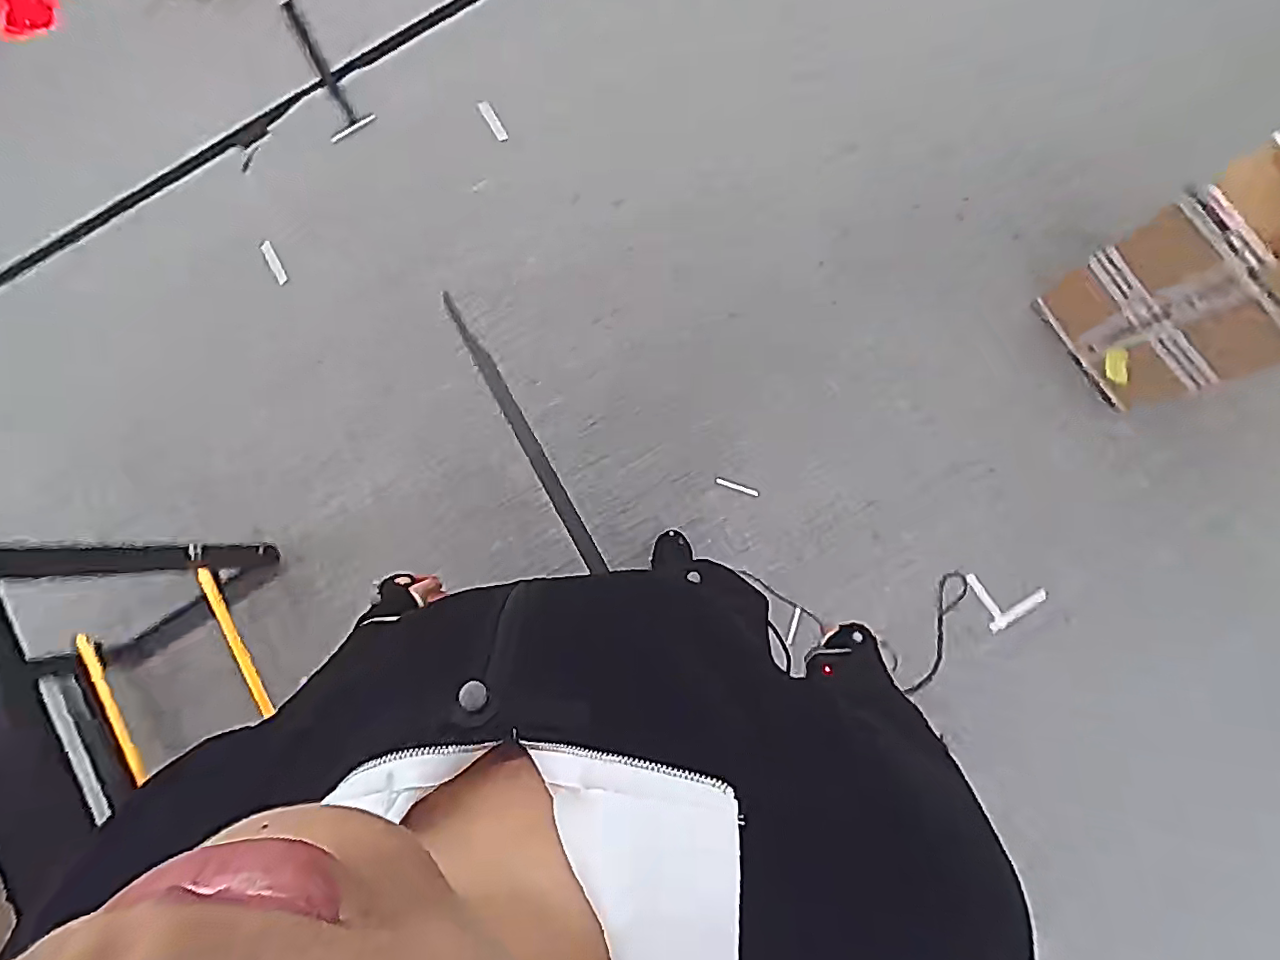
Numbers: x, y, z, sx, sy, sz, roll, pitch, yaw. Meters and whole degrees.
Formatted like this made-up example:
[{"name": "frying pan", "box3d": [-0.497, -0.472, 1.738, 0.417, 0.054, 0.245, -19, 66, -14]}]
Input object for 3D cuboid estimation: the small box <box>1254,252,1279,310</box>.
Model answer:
[{"name": "small box", "box3d": [1.257, -0.380, 0.931, 0.179, 0.176, 0.168, -34, 82, 2]}]
